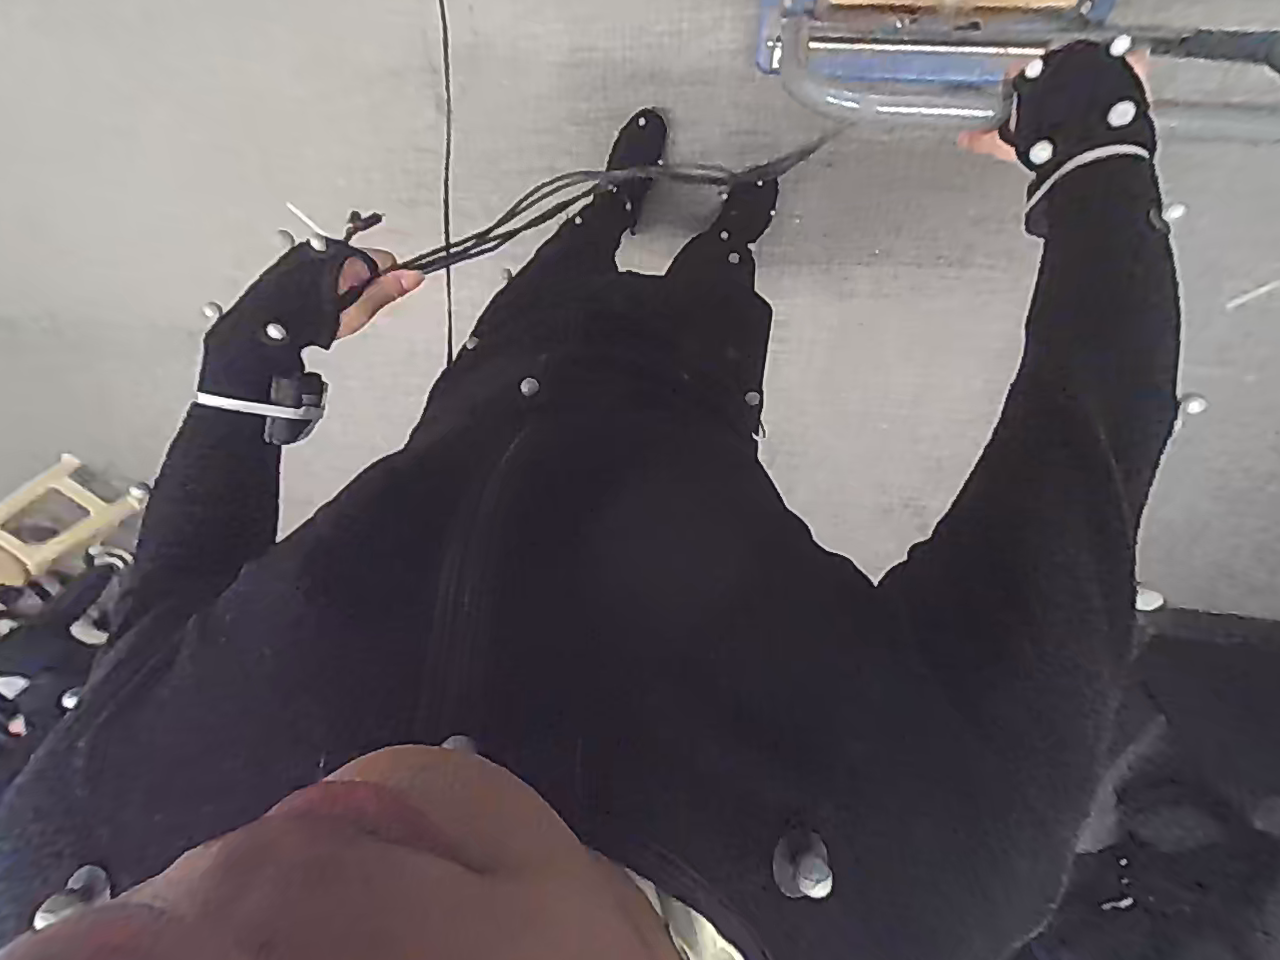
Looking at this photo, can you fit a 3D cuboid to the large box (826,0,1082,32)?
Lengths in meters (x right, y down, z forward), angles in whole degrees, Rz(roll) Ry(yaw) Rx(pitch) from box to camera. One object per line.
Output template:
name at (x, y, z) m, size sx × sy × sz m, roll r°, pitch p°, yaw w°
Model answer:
large box at (0.453, -0.869, 0.721) m, size 0.320 × 0.320 × 0.408 m, roll 9°, pitch 127°, yaw 8°
